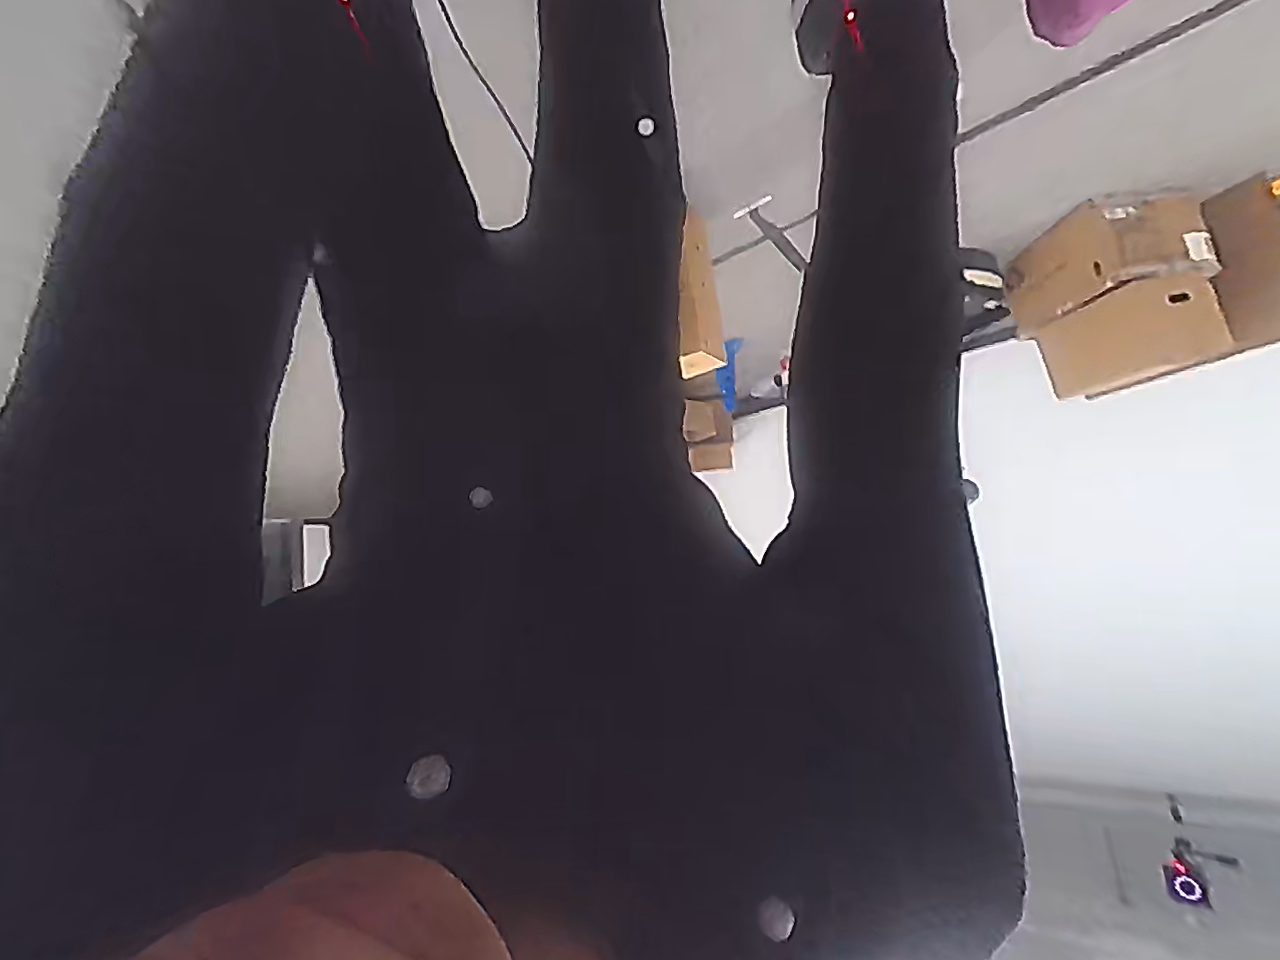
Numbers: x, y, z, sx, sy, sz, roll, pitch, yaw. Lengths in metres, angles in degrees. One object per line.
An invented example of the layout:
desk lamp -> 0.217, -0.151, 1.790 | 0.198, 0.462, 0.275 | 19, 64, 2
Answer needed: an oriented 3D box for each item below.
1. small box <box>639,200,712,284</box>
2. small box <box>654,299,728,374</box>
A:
small box -> 0.116, -0.775, 1.767 | 0.168, 0.176, 0.179 | -14, 168, 39
small box -> 0.162, -0.454, 1.720 | 0.168, 0.176, 0.179 | -12, 170, 35
